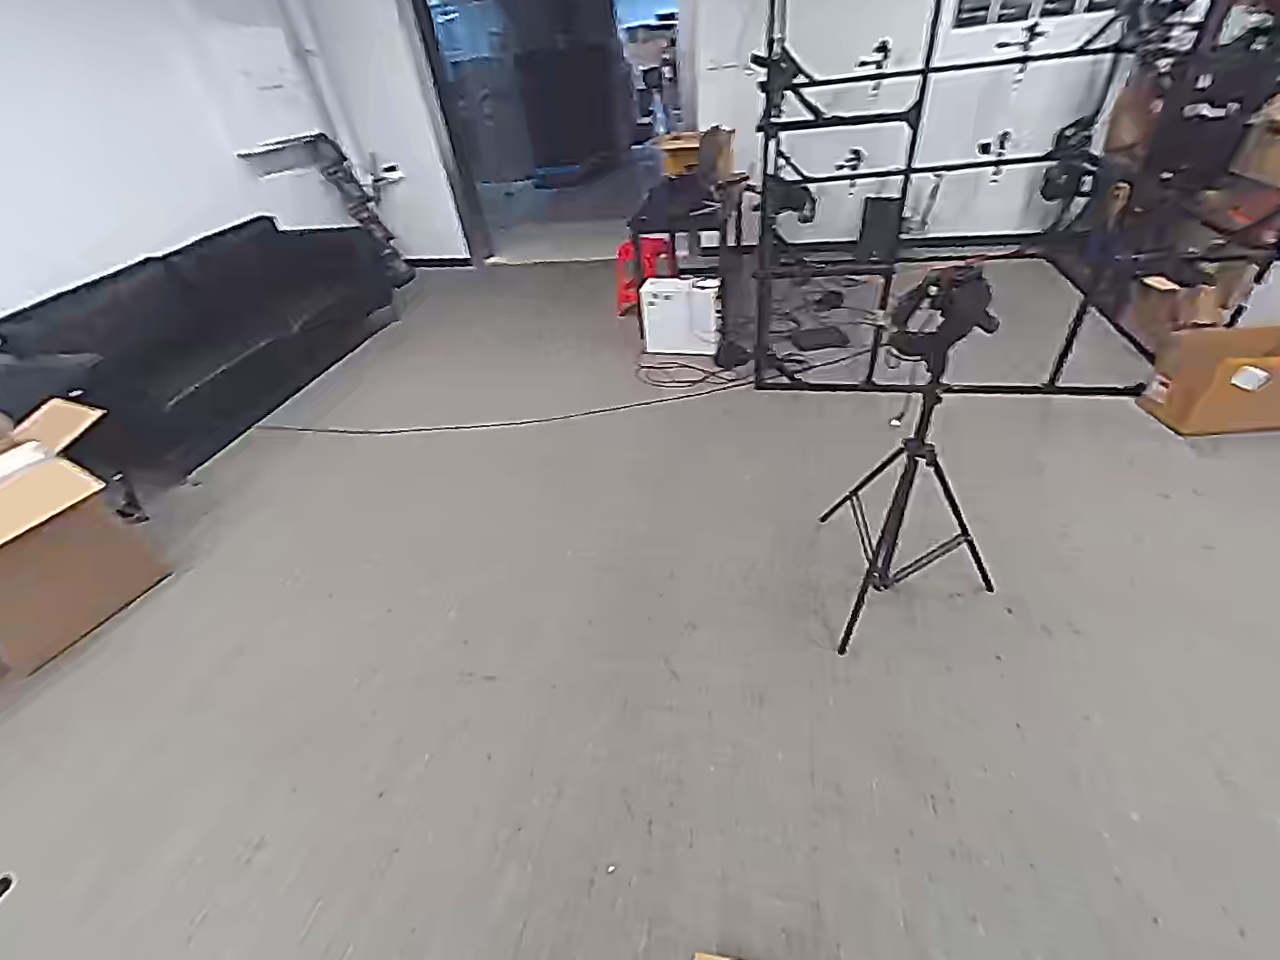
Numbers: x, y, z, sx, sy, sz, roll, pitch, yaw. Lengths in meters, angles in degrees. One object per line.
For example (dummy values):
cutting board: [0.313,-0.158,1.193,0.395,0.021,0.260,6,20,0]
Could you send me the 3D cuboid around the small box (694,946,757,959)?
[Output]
small box: [0.180,1.028,1.021,0.168,0.176,0.179,3,39,12]
